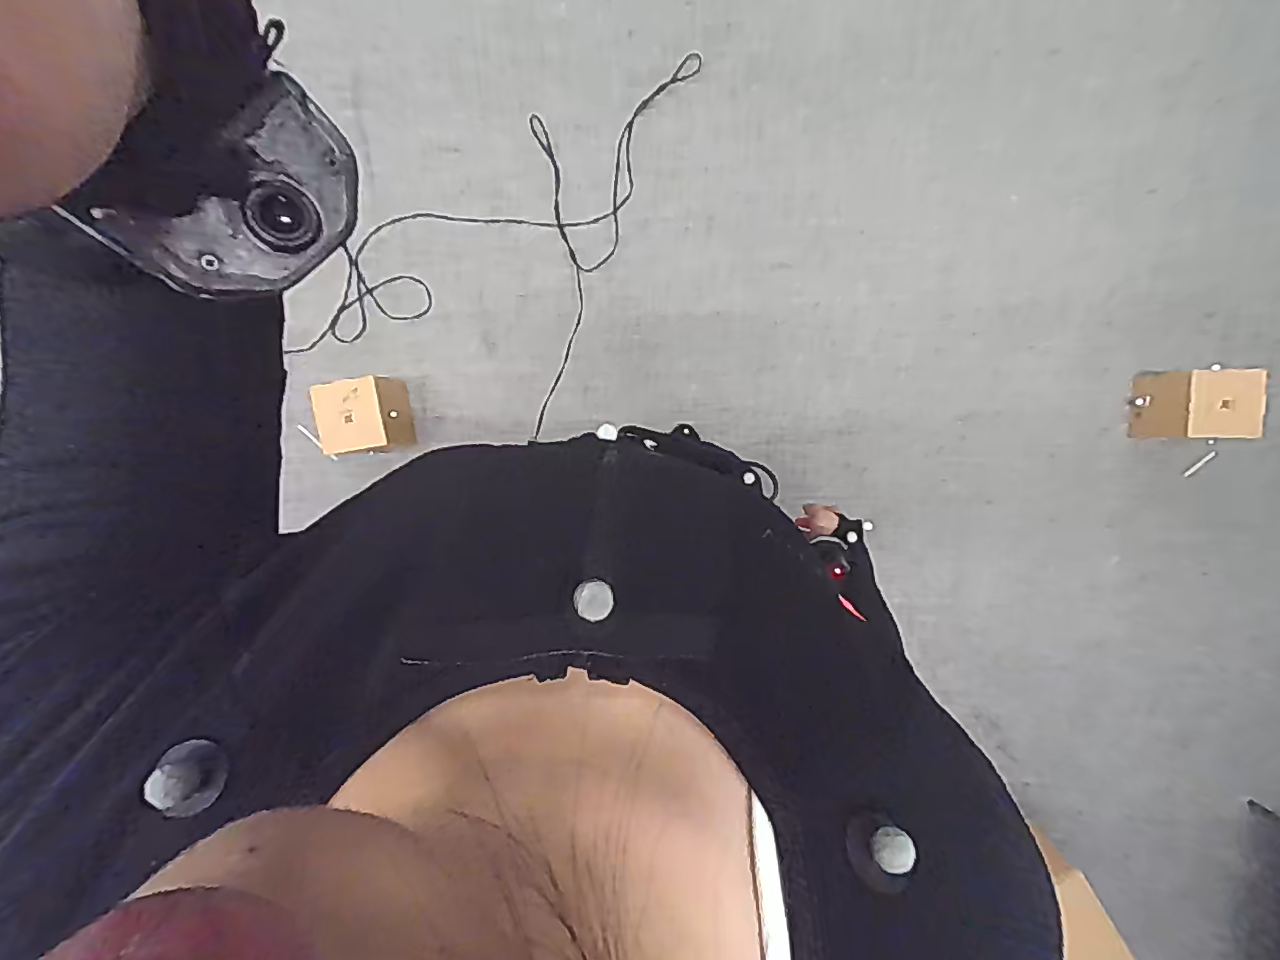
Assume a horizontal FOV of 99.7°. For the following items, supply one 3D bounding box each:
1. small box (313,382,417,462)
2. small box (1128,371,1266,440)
[{"bbox_3d":[-0.702,-0.150,1.403,0.168,0.176,0.179,-10,94,2],"label":"small box"},{"bbox_3d":[1.407,-0.185,1.375,0.179,0.176,0.168,-1,94,2],"label":"small box"}]
